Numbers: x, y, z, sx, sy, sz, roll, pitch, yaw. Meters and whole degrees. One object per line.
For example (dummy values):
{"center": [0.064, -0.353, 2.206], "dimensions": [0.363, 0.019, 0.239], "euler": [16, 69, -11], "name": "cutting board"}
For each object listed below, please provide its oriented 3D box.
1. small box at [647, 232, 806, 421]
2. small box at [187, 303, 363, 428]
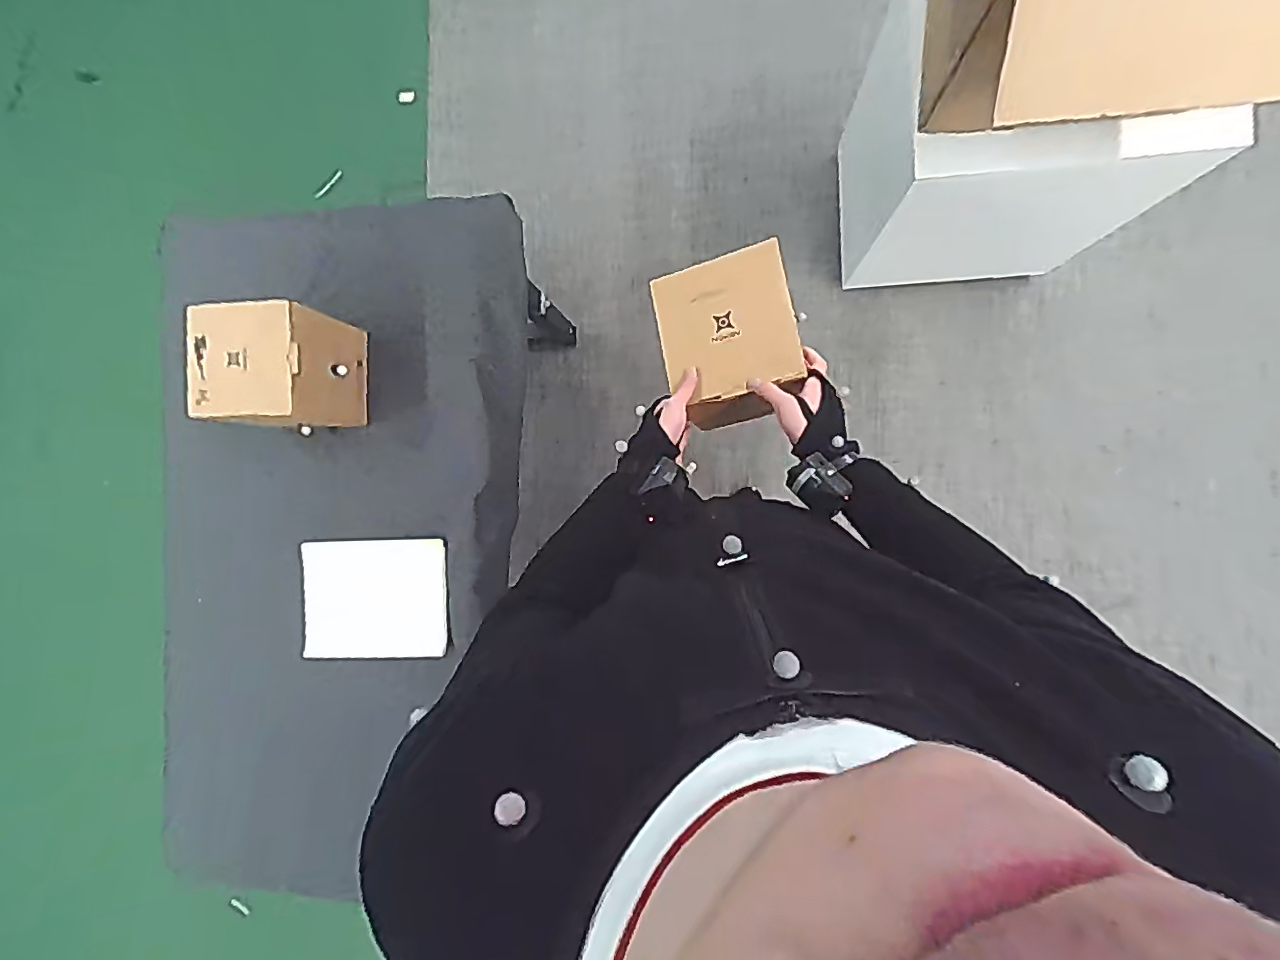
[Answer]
{"center": [0.122, -0.186, 0.724], "dimensions": [0.168, 0.176, 0.179], "euler": [-12, 80, 16], "name": "small box"}
{"center": [-0.568, -0.174, 0.862], "dimensions": [0.179, 0.176, 0.168], "euler": [0, 90, 7], "name": "small box"}
